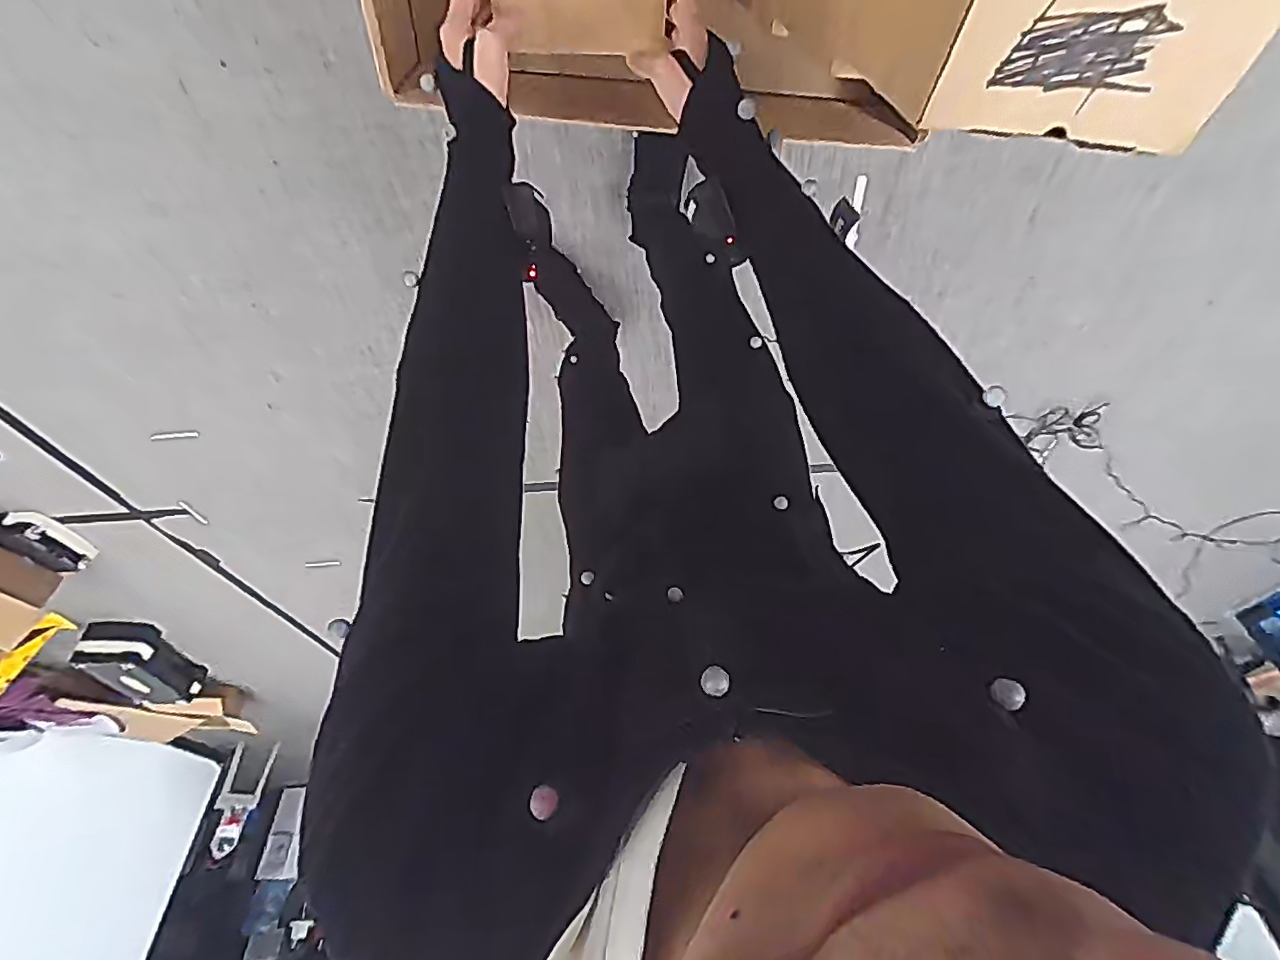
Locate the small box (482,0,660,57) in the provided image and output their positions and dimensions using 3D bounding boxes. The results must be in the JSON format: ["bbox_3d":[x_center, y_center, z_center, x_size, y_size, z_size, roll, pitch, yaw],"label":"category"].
[{"bbox_3d":[-0.068,-0.531,0.510,0.168,0.176,0.179,-4,140,-8],"label":"small box"}]

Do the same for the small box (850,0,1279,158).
[{"bbox_3d":[0.234,-0.306,0.289,0.168,0.176,0.179,2,139,-7],"label":"small box"}]

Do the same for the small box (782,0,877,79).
[{"bbox_3d":[0.227,-0.422,0.407,0.179,0.176,0.168,-1,140,-4],"label":"small box"}]
